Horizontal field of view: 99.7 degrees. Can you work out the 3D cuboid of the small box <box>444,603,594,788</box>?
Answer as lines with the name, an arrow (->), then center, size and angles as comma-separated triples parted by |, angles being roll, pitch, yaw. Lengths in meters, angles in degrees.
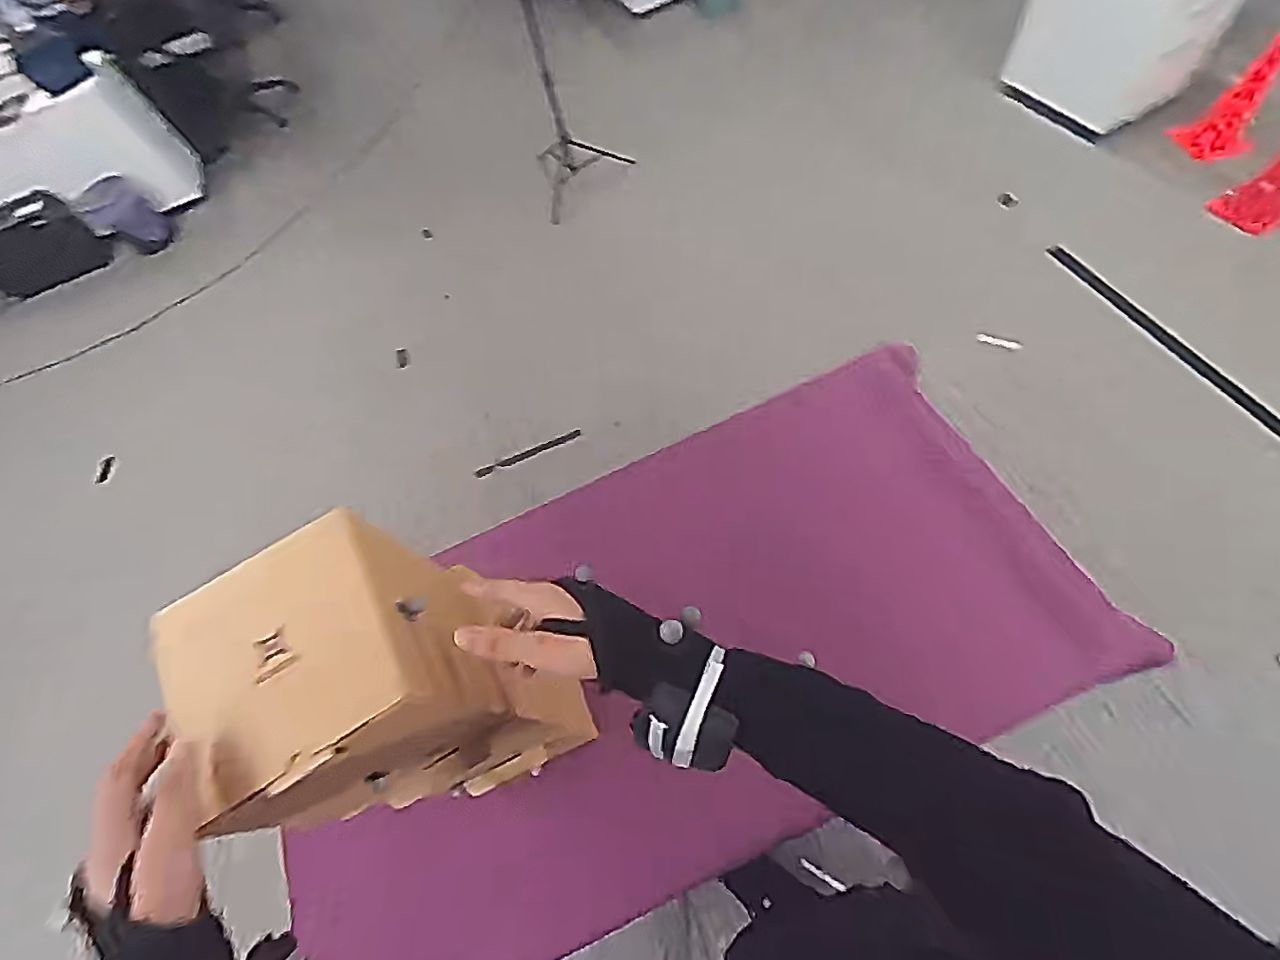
small box -> -0.181, 0.300, 0.751 | 0.168, 0.176, 0.179 | -26, 62, -2

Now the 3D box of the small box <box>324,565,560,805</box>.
small box -> -0.210, 0.228, 0.606 | 0.168, 0.176, 0.179 | -29, 62, -5
